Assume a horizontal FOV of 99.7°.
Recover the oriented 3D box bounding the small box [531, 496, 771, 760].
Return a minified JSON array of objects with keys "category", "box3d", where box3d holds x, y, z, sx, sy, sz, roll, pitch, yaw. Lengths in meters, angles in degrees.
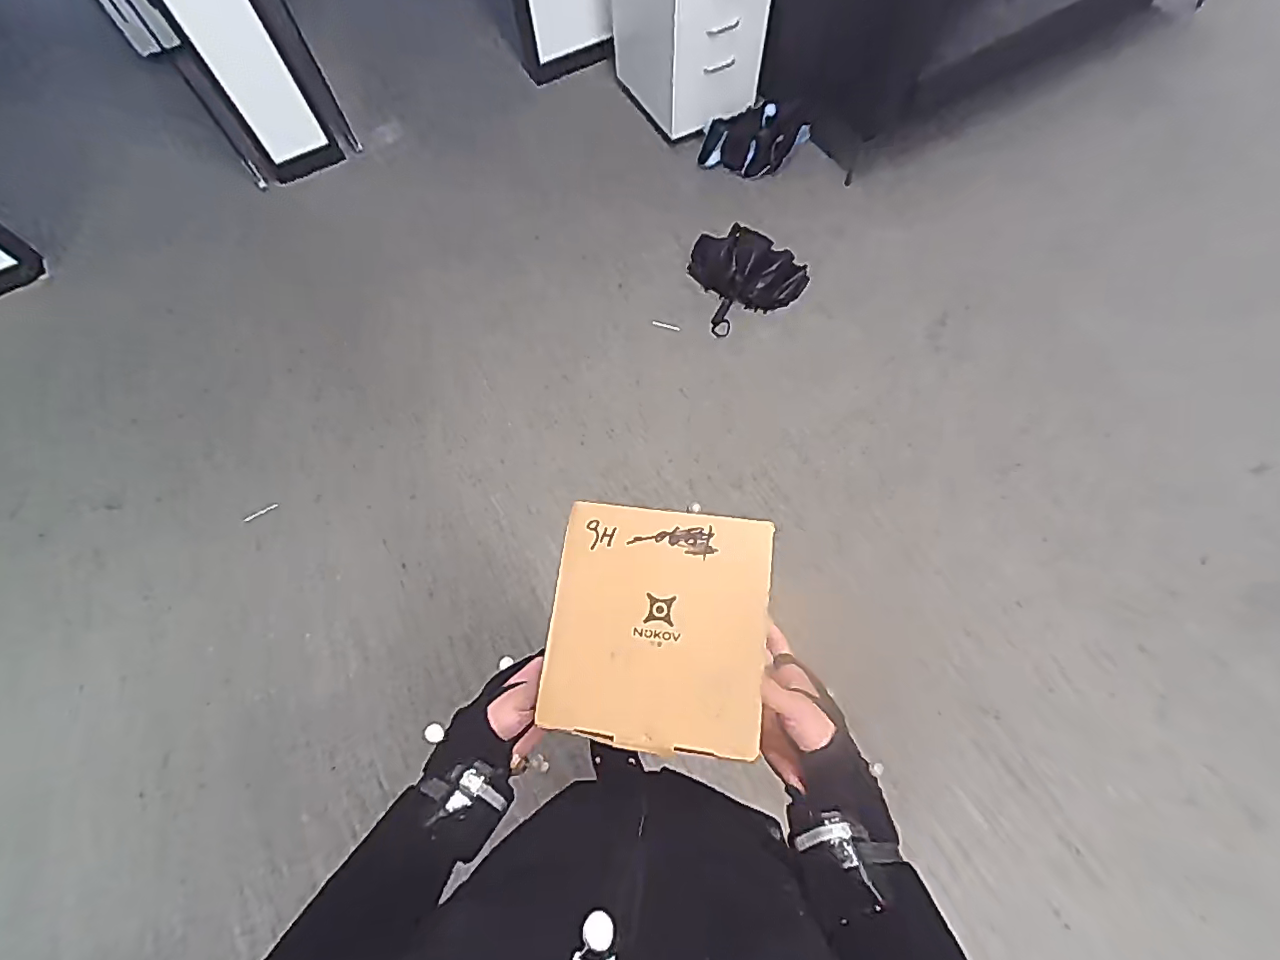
[{"category":"small box","box3d":[0.017,0.126,0.486,0.168,0.176,0.179,7,75,6]}]
